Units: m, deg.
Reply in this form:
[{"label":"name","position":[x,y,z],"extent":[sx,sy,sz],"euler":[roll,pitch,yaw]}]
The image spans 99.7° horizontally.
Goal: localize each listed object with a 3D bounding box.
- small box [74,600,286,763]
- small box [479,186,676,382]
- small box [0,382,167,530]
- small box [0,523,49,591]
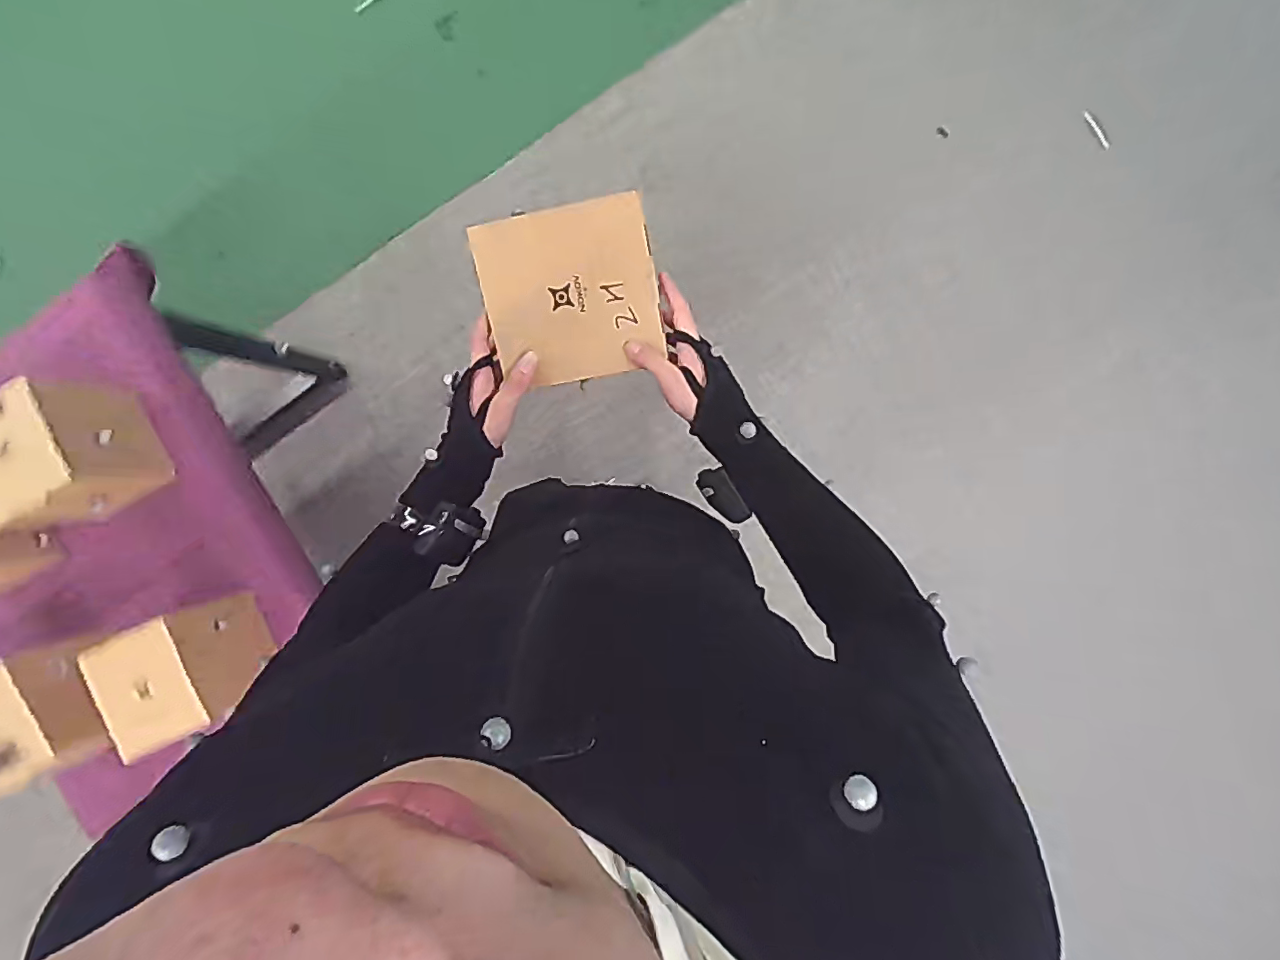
[{"label":"small box","position":[-0.737,0.313,0.886],"extent":[0.168,0.176,0.179],"euler":[-25,91,6]},{"label":"small box","position":[-0.054,-0.207,0.607],"extent":[0.179,0.176,0.168],"euler":[-8,105,5]},{"label":"small box","position":[-0.945,-0.040,0.887],"extent":[0.168,0.176,0.179],"euler":[-28,91,6]},{"label":"small box","position":[-1.170,0.111,0.910],"extent":[0.179,0.176,0.168],"euler":[-27,90,5]}]
